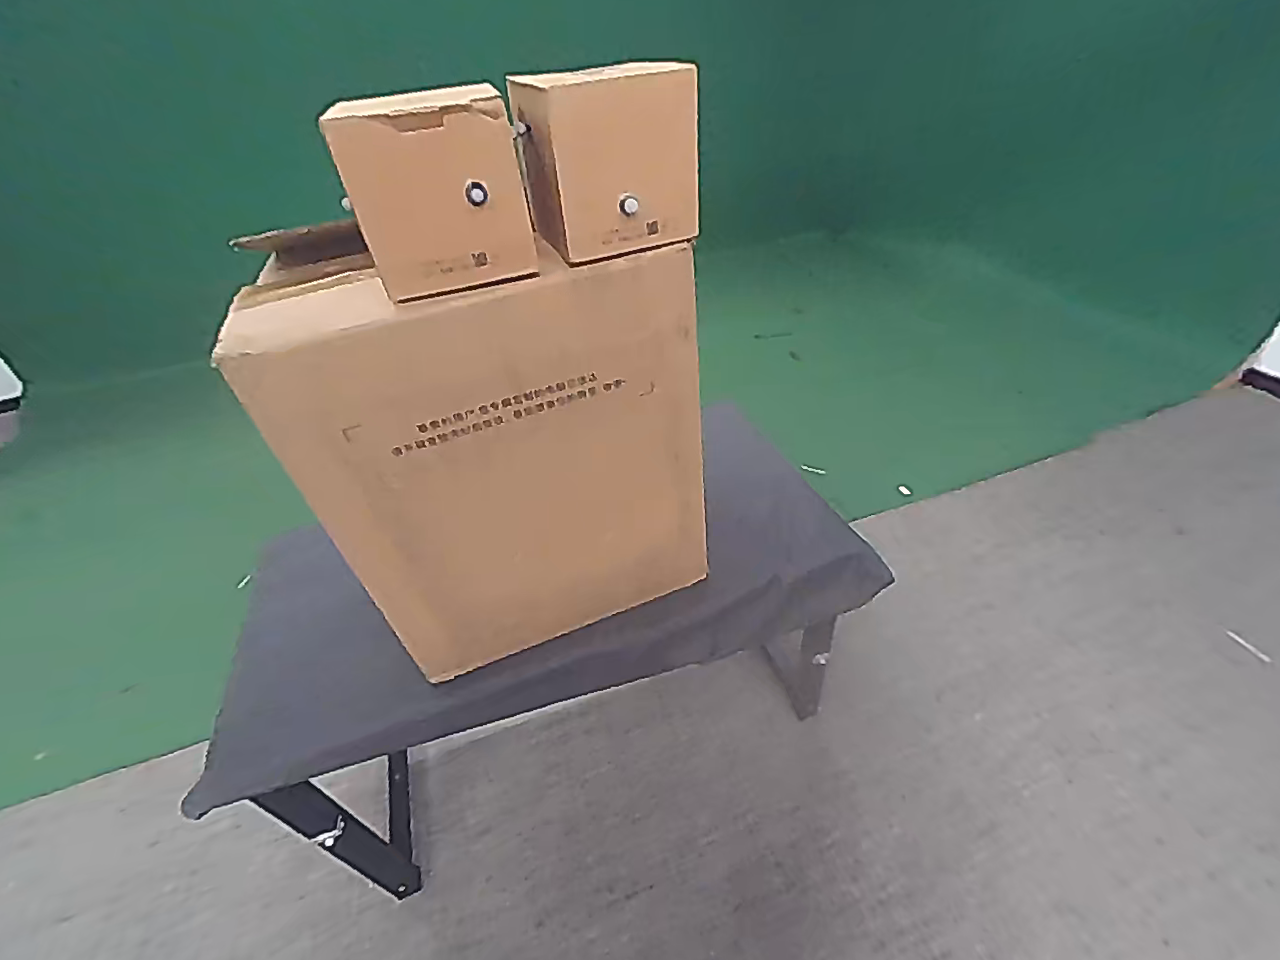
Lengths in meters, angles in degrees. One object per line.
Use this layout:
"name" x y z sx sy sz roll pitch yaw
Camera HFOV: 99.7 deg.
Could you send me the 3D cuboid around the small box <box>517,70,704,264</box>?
"small box" -0.036 -0.375 0.646 0.168 0.176 0.179 -18 42 -14
